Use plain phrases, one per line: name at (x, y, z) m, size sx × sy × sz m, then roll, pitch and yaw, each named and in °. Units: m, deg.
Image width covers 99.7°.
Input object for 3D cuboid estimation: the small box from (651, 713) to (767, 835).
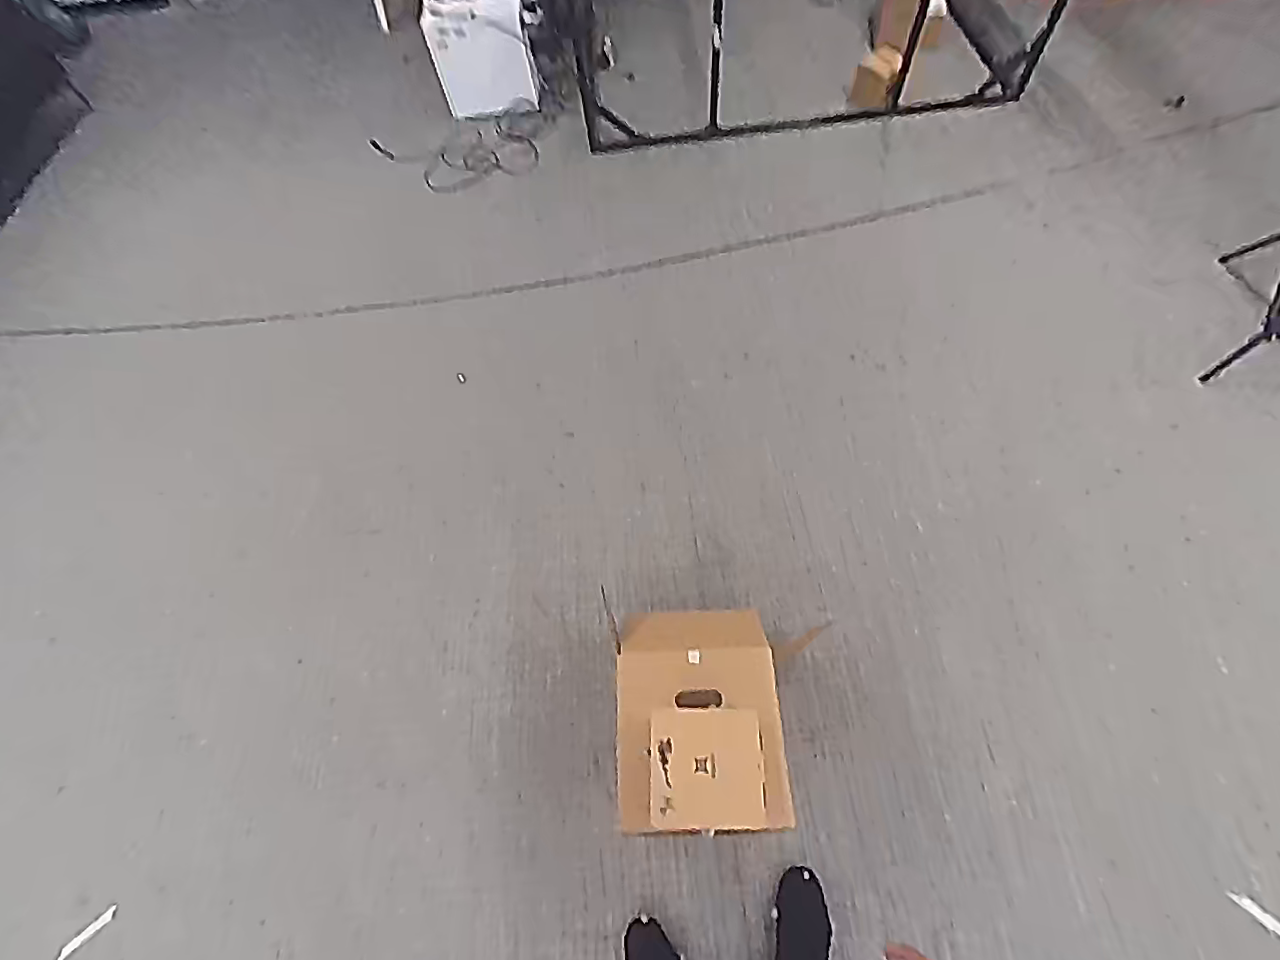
small box at (0.110, 0.492, 0.918) m, size 0.179 × 0.176 × 0.168 m, roll -1°, pitch 63°, yaw 4°
